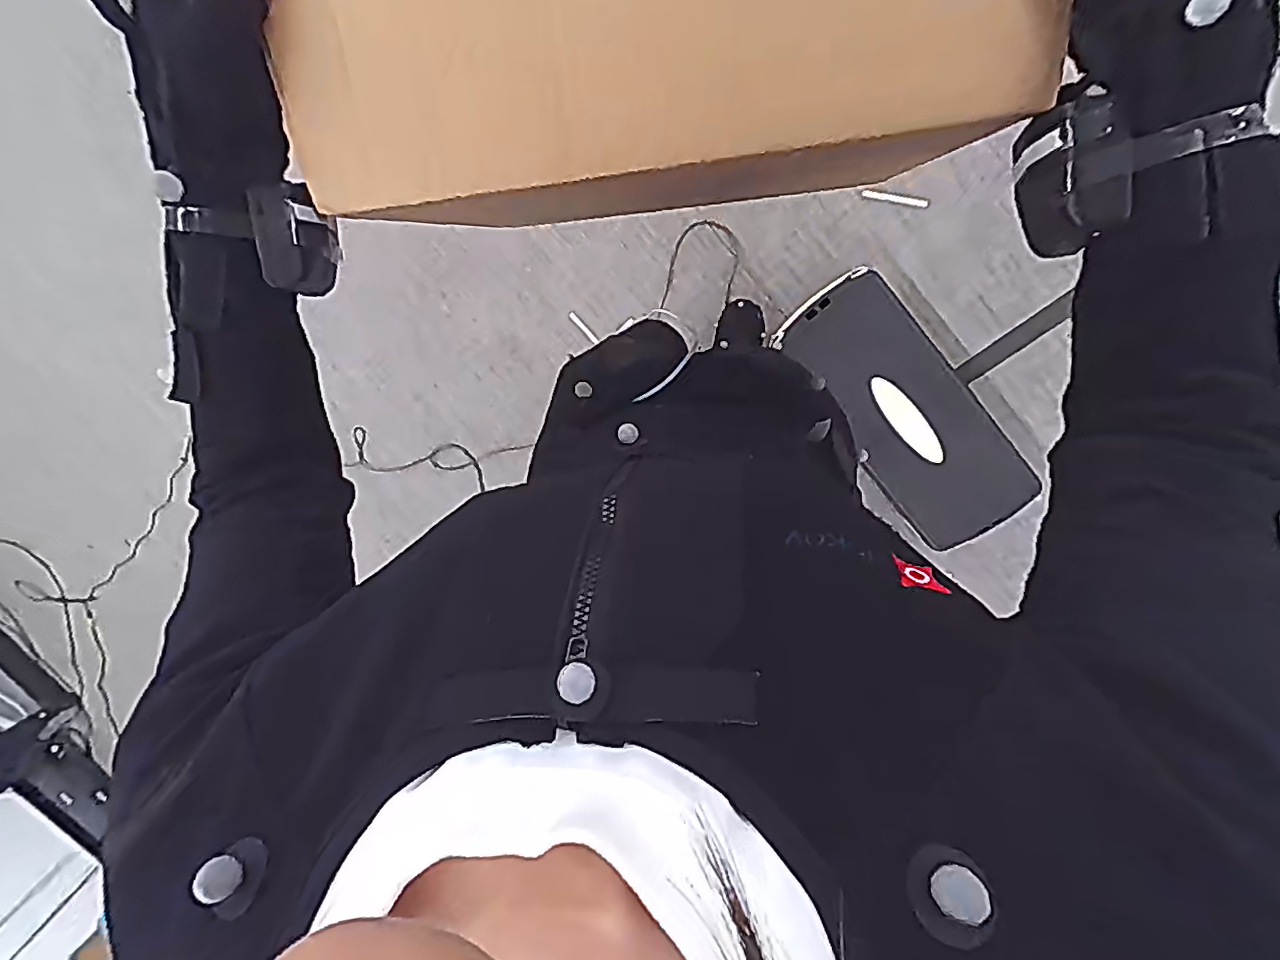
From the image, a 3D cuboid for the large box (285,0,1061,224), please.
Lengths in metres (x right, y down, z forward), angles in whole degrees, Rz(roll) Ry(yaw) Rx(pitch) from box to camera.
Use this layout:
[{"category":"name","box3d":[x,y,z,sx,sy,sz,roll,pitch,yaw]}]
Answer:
[{"category":"large box","box3d":[0.011,-0.383,0.384,0.408,0.320,0.320,-3,113,10]}]
